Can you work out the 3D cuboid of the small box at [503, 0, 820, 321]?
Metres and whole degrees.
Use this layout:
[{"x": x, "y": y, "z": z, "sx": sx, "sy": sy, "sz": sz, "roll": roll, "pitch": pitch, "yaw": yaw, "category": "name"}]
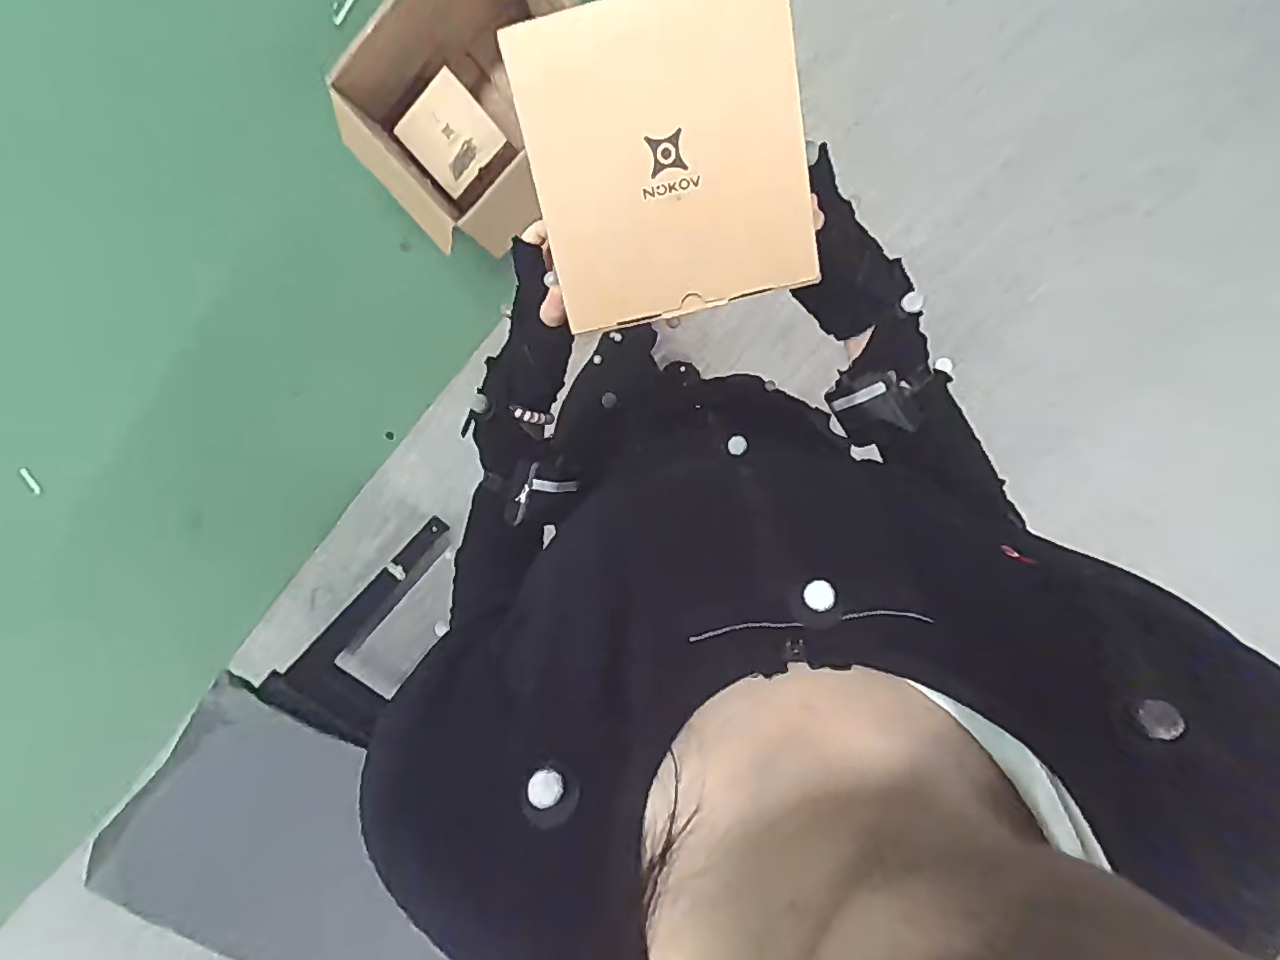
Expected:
[{"x": 0.019, "y": -0.222, "z": 0.400, "sx": 0.168, "sy": 0.176, "sz": 0.179, "roll": -12, "pitch": 107, "yaw": 6, "category": "small box"}]
